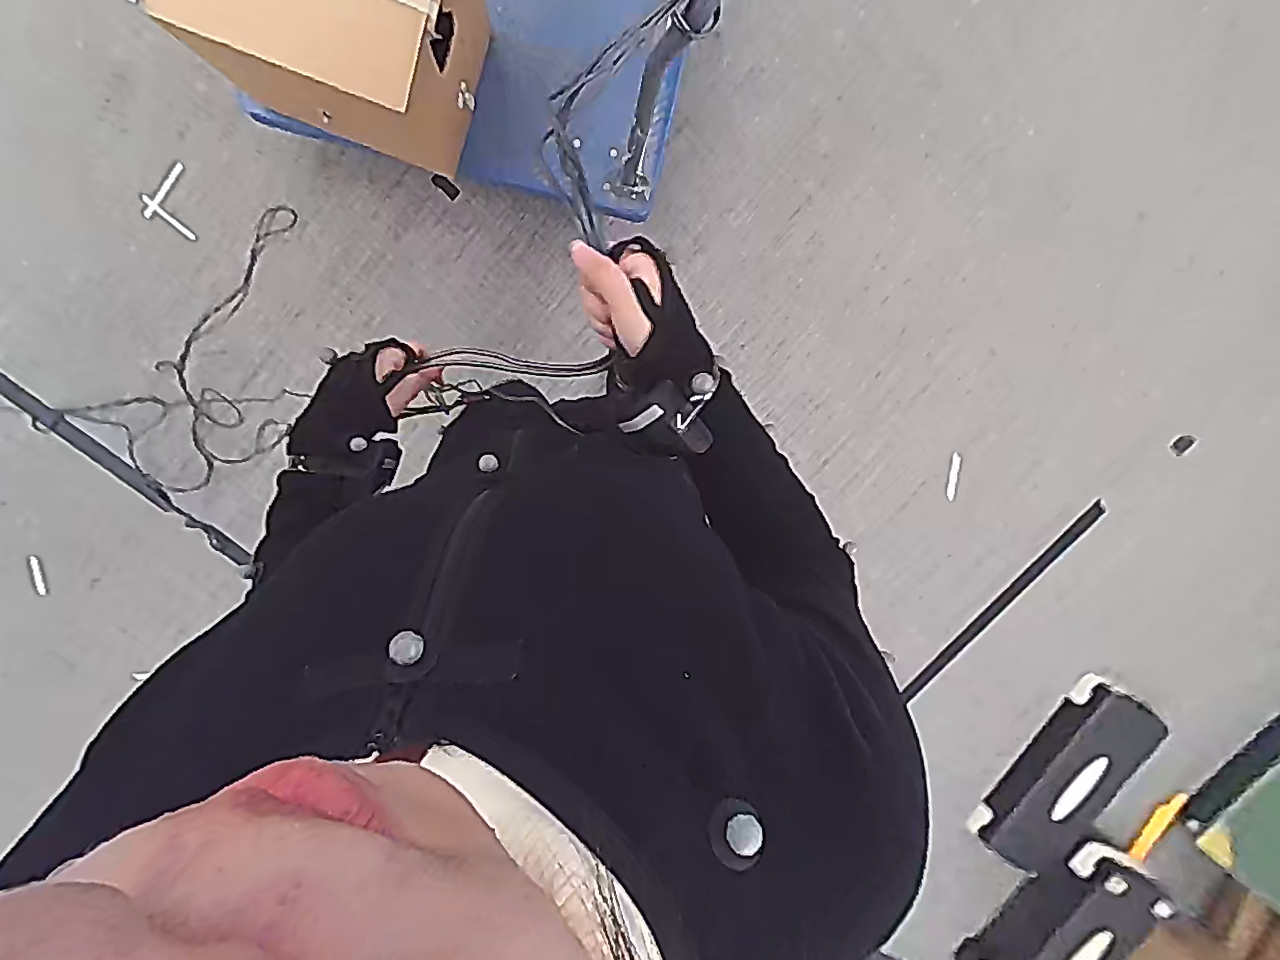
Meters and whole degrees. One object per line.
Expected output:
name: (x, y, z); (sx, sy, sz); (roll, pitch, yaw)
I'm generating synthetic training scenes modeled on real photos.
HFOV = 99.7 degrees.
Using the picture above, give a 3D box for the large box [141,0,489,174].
large box: (-0.522, -0.807, 0.951); (0.408, 0.320, 0.320); (17, 99, -7)
